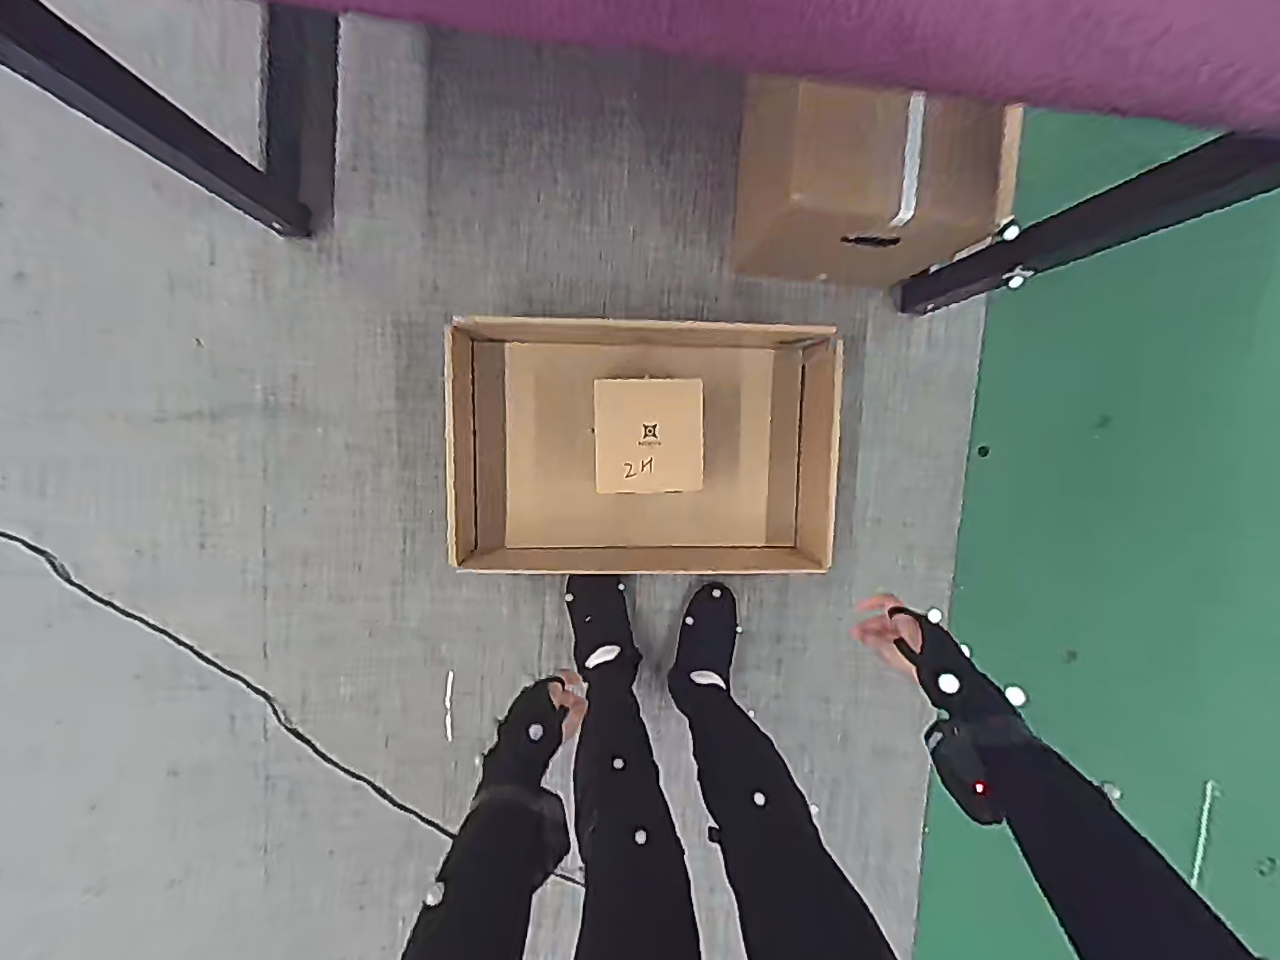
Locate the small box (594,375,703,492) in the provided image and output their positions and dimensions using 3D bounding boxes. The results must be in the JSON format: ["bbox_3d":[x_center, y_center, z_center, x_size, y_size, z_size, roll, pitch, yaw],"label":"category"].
[{"bbox_3d":[0.007,-0.076,0.893,0.168,0.176,0.179,-1,96,-4],"label":"small box"}]
